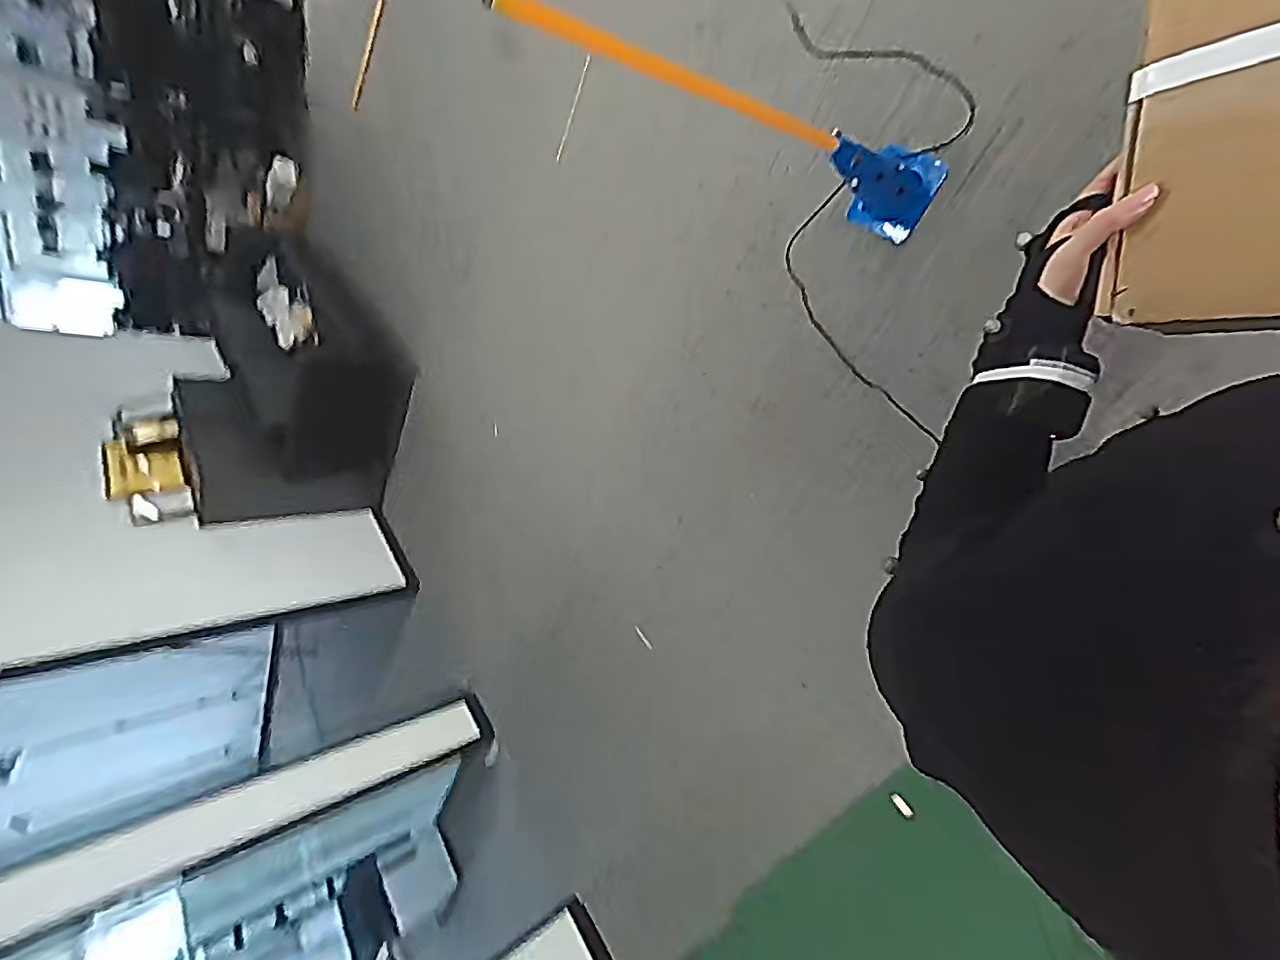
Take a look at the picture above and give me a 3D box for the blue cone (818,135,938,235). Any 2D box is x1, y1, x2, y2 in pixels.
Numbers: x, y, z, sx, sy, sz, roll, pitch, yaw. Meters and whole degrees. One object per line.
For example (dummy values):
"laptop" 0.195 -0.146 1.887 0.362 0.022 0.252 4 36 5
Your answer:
"blue cone" 0.542 -0.744 1.303 0.192 0.380 0.193 45 124 33
